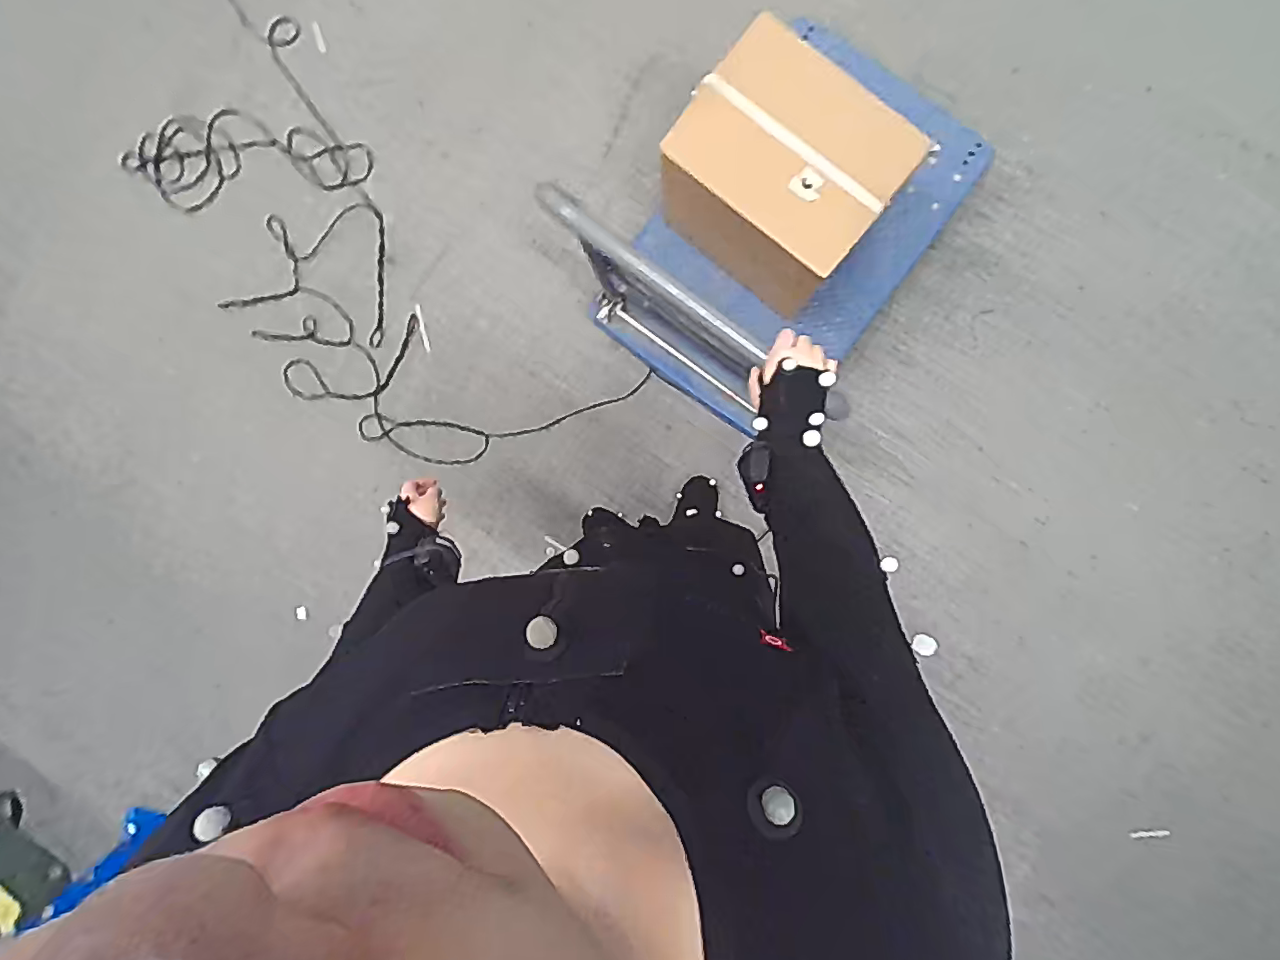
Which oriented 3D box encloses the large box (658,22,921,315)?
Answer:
[{"bbox_3d":[0.284,-0.632,1.169,0.408,0.320,0.320,39,94,1],"label":"large box"}]
